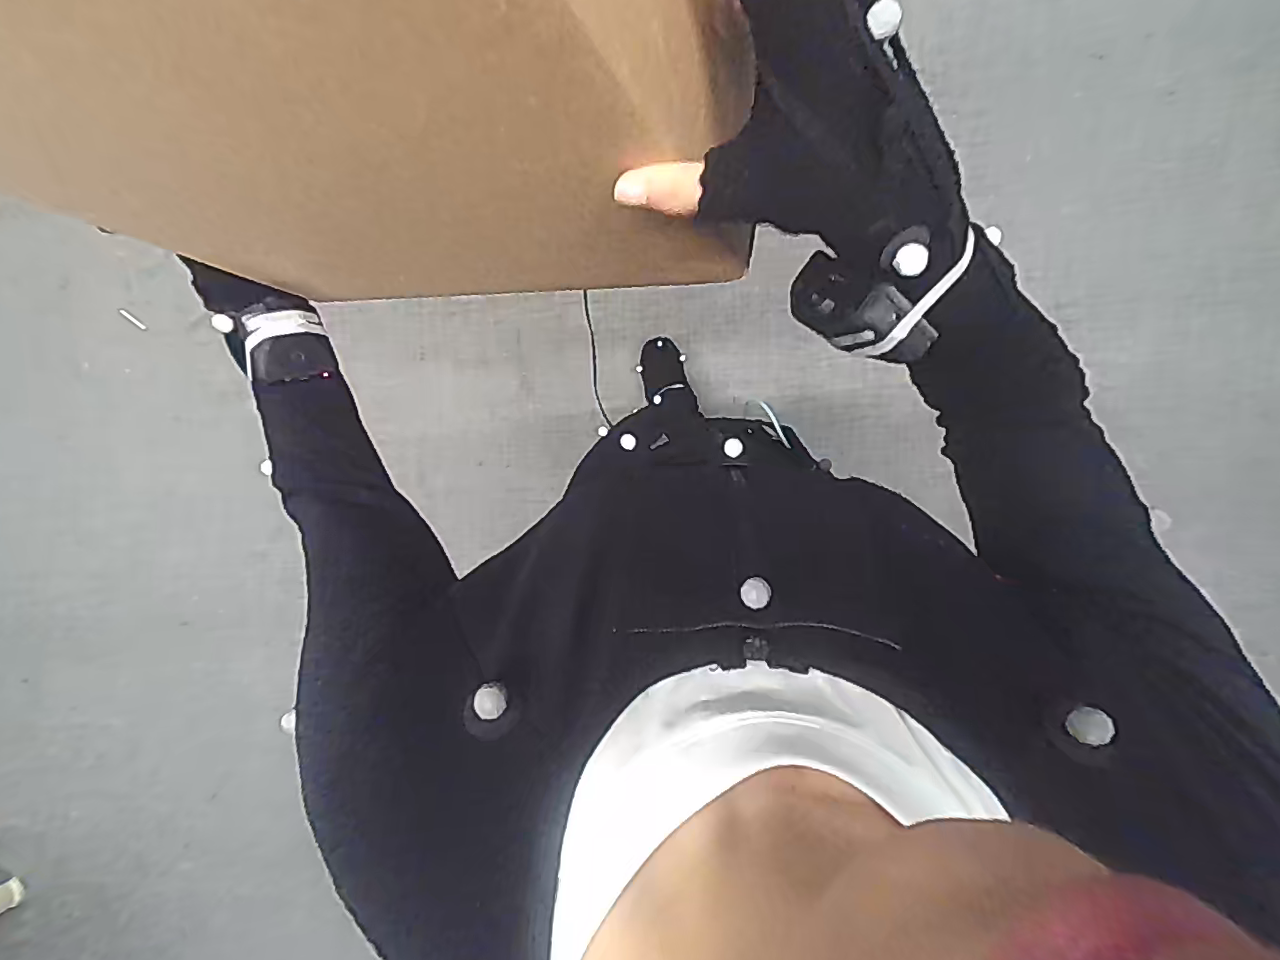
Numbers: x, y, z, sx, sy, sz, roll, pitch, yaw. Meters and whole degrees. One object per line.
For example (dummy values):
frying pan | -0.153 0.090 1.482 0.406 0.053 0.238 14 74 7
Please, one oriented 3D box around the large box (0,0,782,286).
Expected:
large box | -0.154 -0.315 0.274 0.408 0.320 0.320 6 90 25
